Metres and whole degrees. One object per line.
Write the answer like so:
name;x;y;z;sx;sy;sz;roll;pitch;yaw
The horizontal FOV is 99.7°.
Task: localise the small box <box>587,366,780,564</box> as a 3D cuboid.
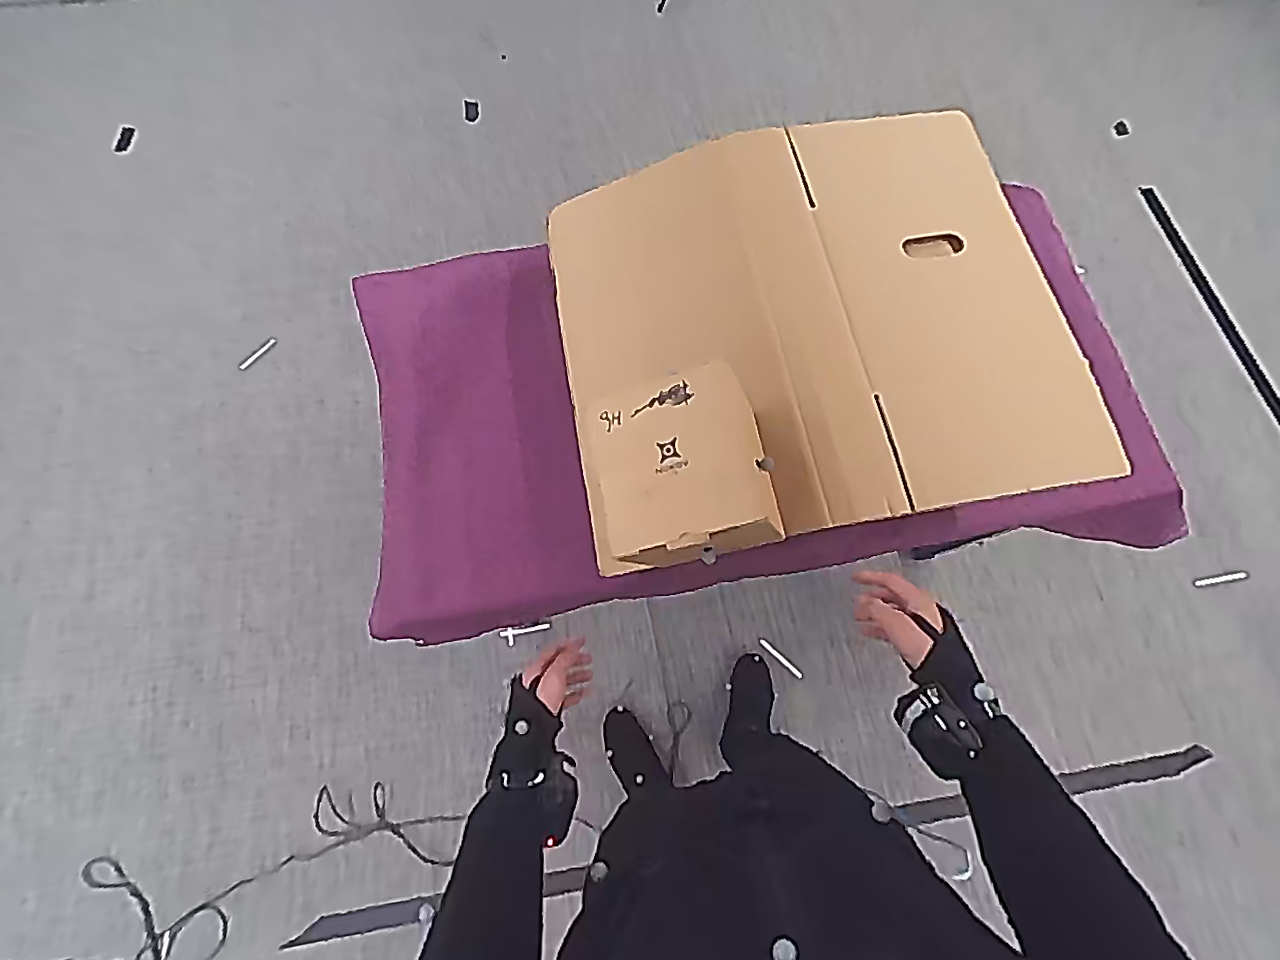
small box;0.058;-0.002;0.632;0.168;0.176;0.179;-16;74;16
